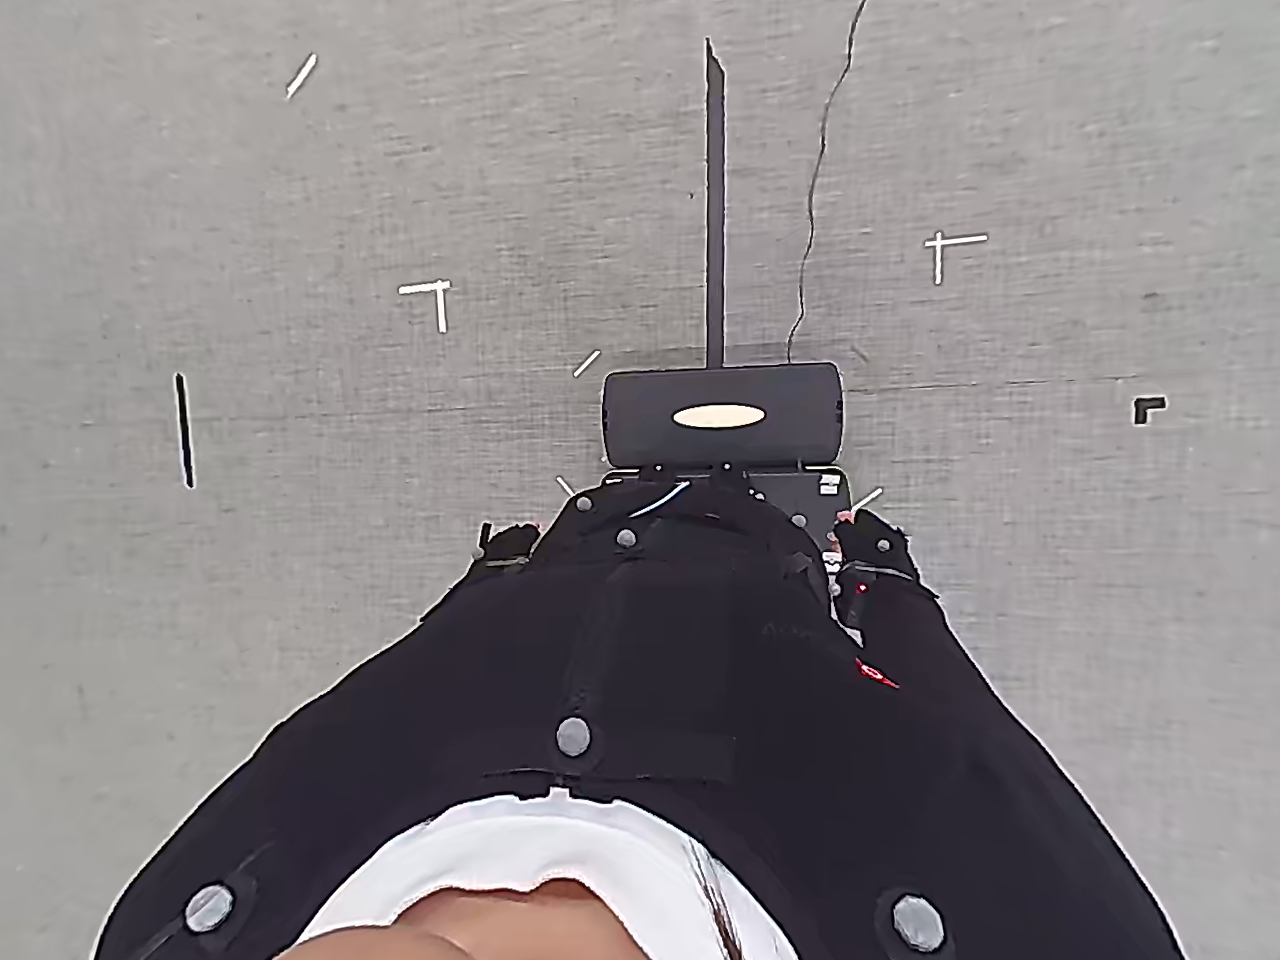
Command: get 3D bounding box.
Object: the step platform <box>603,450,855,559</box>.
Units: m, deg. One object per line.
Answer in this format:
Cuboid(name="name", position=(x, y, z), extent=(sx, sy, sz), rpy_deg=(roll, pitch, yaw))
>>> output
Cuboid(name="step platform", position=(0.239, 0.070, 1.519), extent=(0.684, 0.204, 0.286), rpy_deg=(-2, 93, 10))
